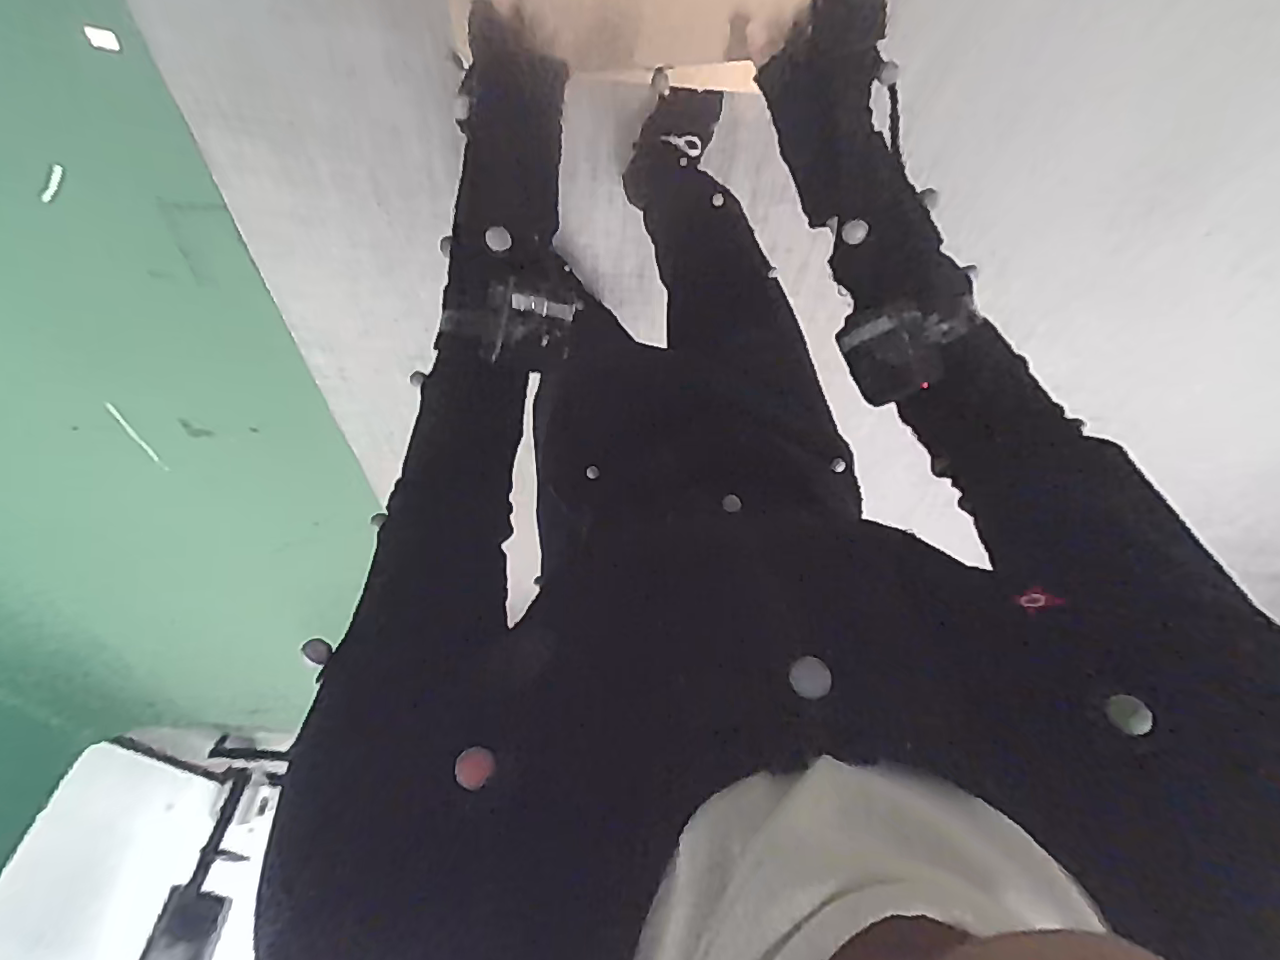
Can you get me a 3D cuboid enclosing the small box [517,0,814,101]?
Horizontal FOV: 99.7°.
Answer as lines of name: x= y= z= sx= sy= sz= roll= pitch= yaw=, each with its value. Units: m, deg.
small box: x=0.014 y=-0.360 z=0.352 sx=0.179 sy=0.176 sz=0.168 roll=-3 pitch=131 yaw=3
